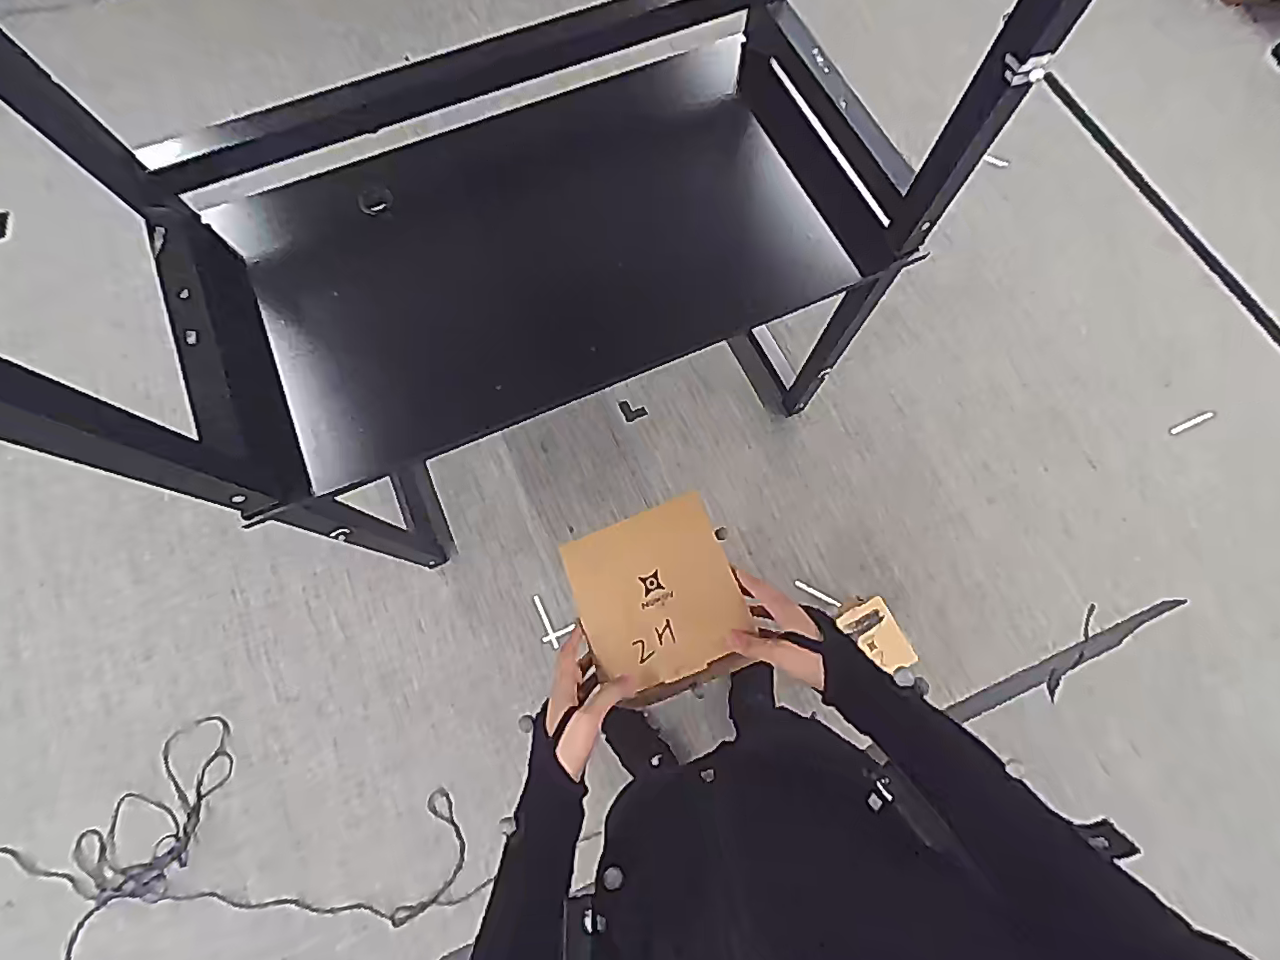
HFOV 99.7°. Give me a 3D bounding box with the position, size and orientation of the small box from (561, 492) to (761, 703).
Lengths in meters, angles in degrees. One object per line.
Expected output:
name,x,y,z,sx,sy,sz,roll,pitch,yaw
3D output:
small box,0.027,0.145,0.628,0.168,0.176,0.179,-22,65,1
